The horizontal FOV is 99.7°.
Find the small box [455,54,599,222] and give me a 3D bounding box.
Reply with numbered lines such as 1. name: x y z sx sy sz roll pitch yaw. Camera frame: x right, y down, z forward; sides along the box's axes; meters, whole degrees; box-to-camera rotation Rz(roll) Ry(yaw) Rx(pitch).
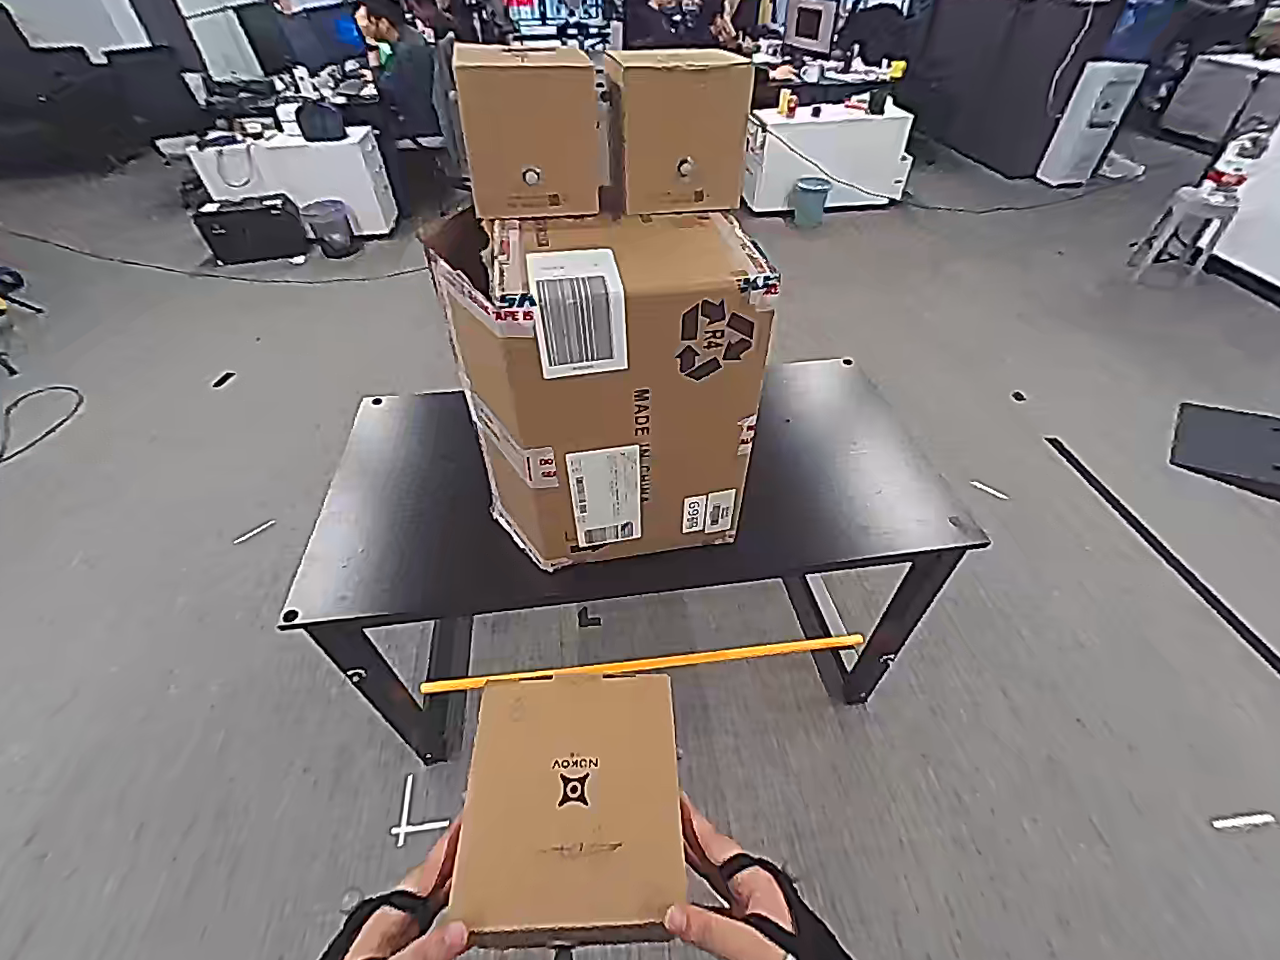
1. small box: -0.151 -0.467 0.740 0.168 0.176 0.179 -8 44 -10

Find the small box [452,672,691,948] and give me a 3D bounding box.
1. small box: -0.051 0.290 0.479 0.168 0.176 0.179 0 46 -3

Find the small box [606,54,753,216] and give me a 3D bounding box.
1. small box: 0.045 -0.490 0.767 0.168 0.176 0.179 -8 44 -7
